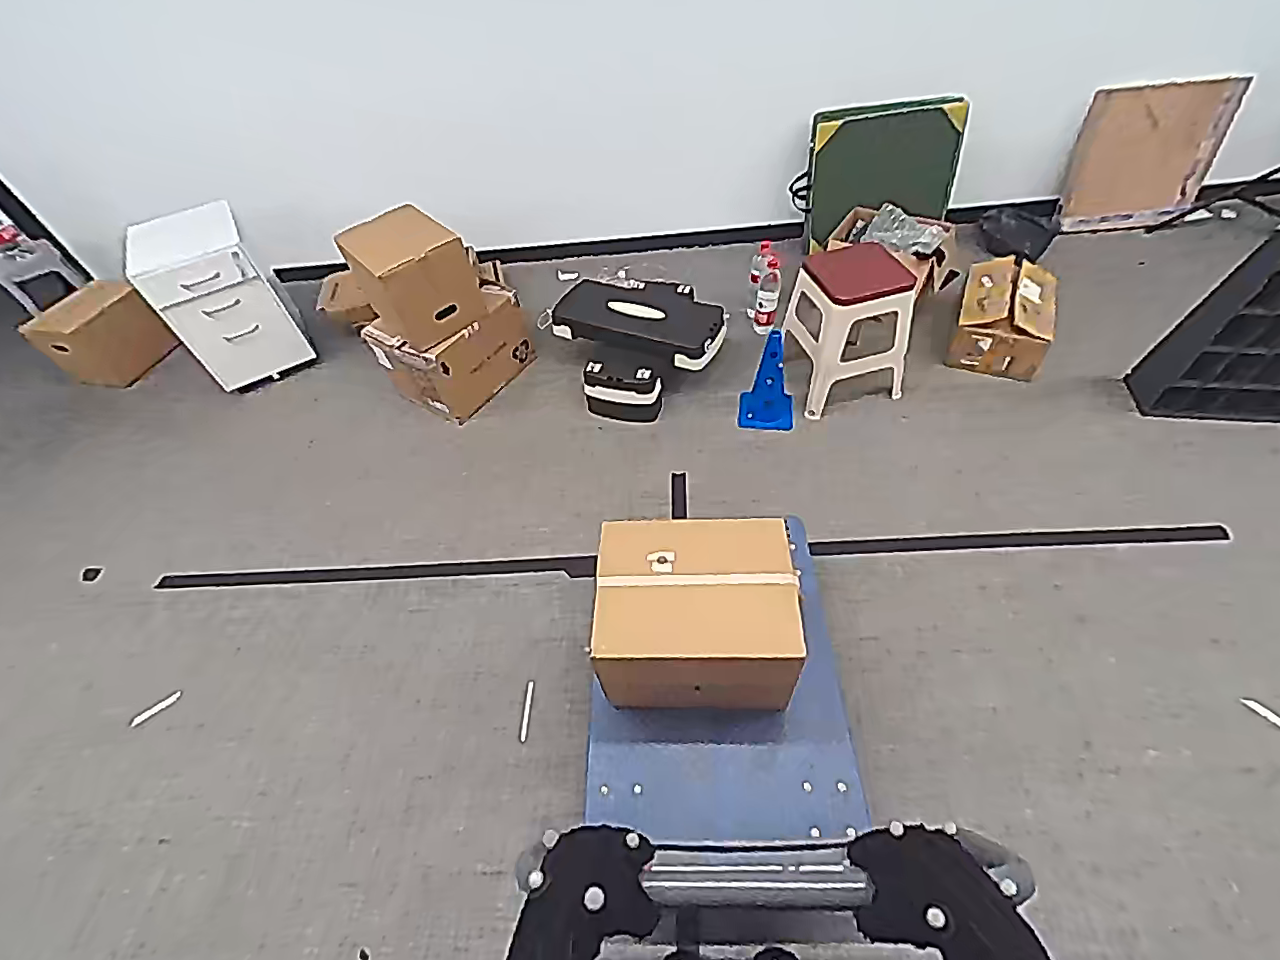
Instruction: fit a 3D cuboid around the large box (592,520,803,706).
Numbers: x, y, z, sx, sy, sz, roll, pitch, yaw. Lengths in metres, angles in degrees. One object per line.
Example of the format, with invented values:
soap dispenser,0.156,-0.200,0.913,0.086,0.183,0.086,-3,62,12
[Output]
large box,0.124,0.310,1.221,0.408,0.320,0.320,-3,51,6
